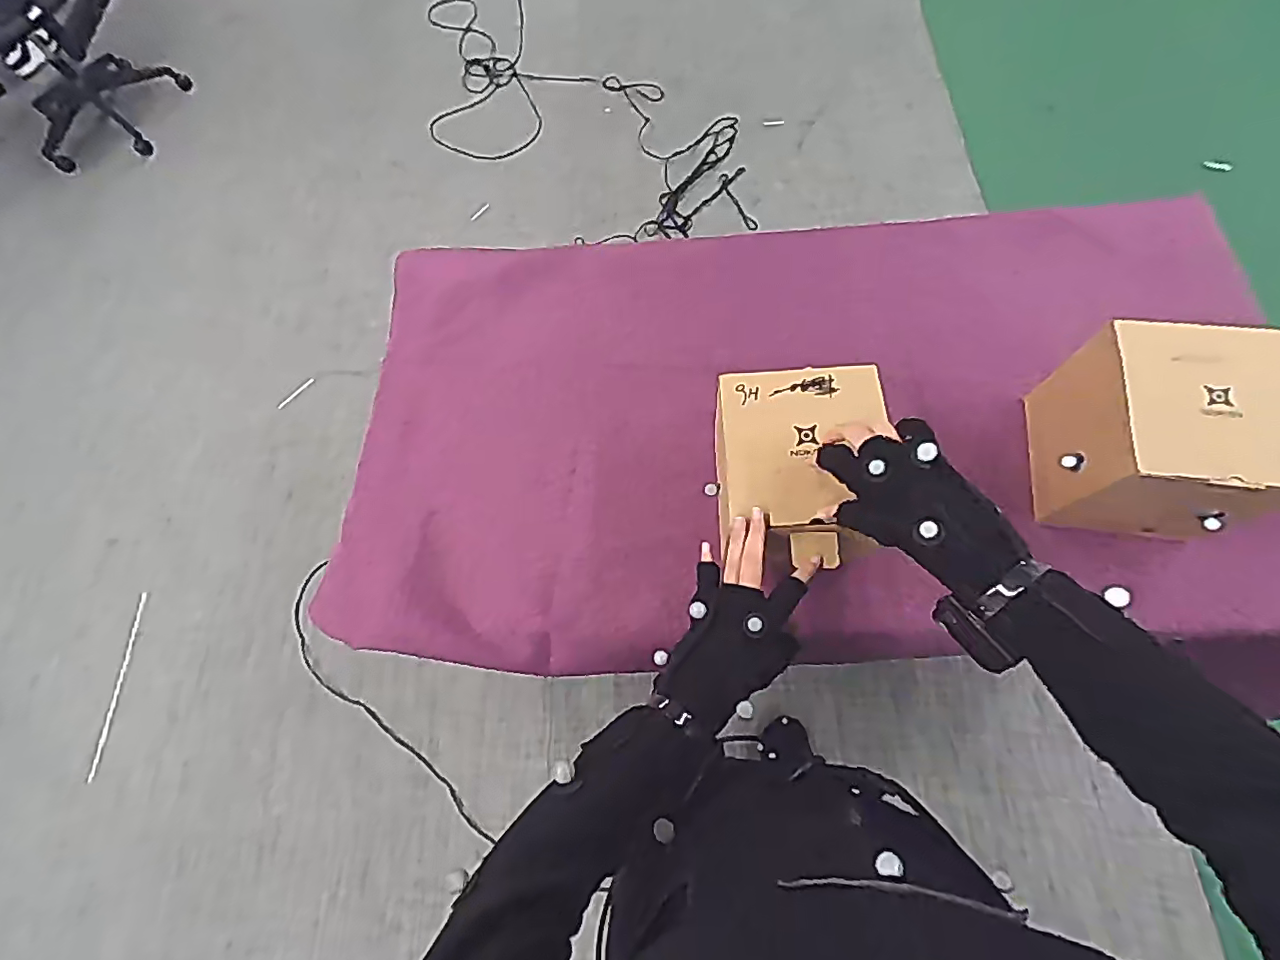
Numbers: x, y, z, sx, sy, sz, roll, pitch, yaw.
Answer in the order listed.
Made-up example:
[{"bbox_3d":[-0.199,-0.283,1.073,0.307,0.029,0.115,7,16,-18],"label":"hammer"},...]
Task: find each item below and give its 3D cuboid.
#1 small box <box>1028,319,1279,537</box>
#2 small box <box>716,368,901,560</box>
[{"bbox_3d":[0.558,-0.047,0.588,0.168,0.176,0.179,7,70,9],"label":"small box"},{"bbox_3d":[0.175,-0.007,0.618,0.168,0.176,0.179,-2,70,5],"label":"small box"}]
